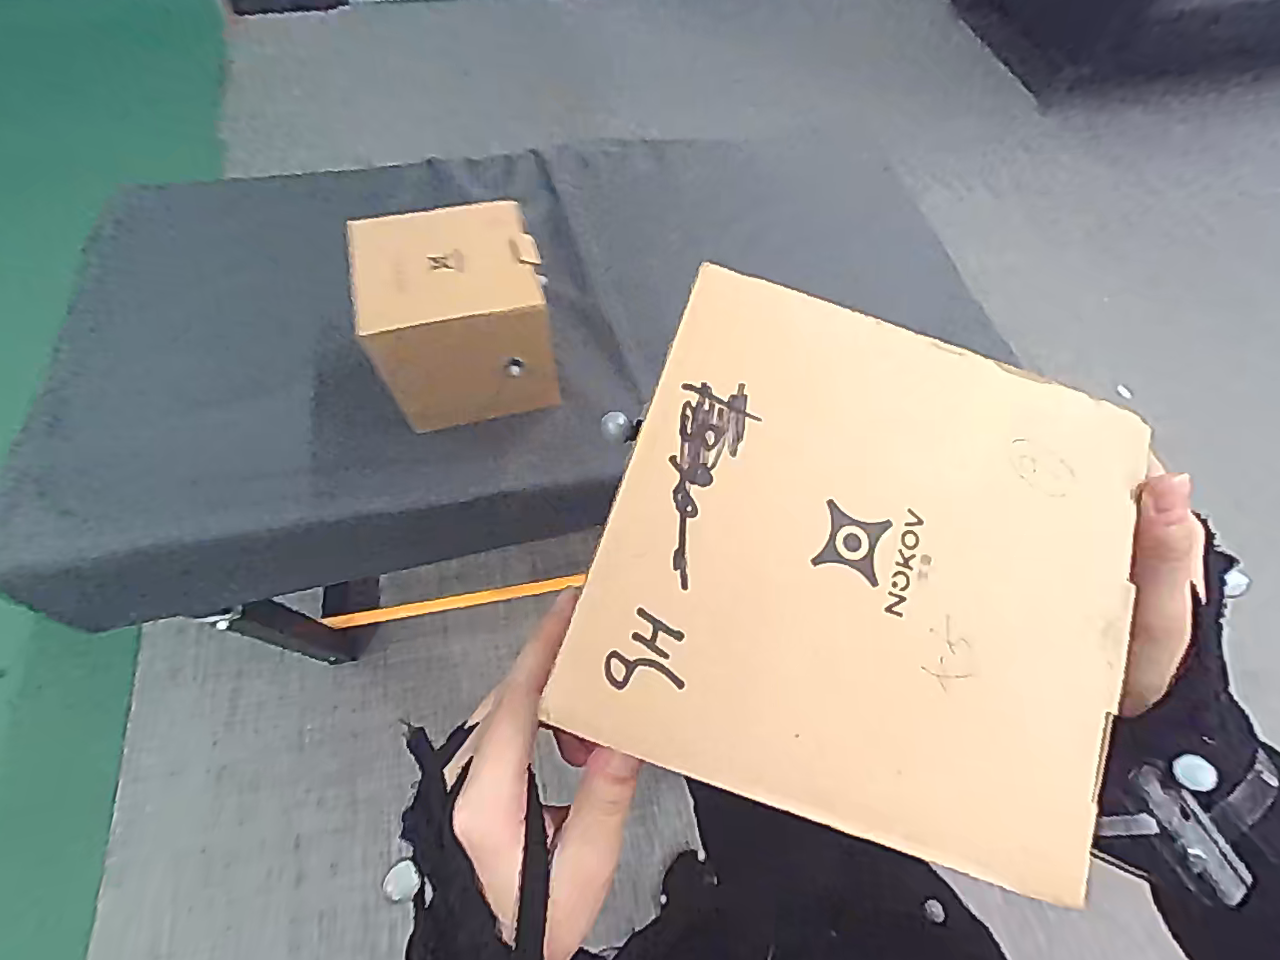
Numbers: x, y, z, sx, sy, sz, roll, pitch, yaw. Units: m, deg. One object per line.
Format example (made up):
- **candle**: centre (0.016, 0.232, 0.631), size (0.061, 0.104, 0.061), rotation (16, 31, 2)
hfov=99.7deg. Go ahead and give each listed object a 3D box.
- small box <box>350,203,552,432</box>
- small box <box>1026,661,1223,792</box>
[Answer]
- **small box**: centre (-0.202, -0.178, 0.616), size (0.179, 0.176, 0.168), rotation (-14, 63, -9)
- **small box**: centre (0.845, 0.443, 0.972), size (0.179, 0.176, 0.168), rotation (-14, 65, -11)
